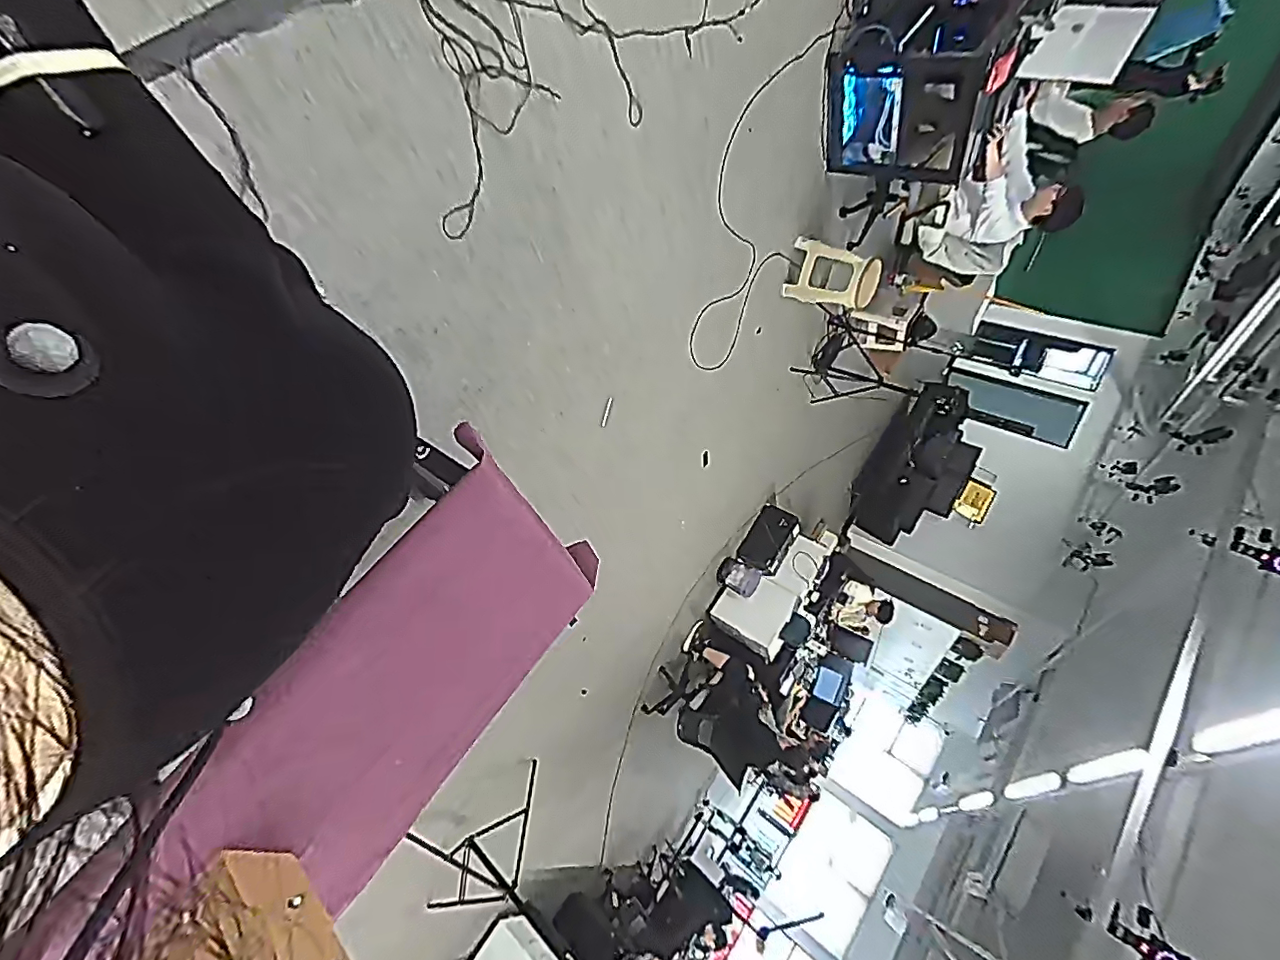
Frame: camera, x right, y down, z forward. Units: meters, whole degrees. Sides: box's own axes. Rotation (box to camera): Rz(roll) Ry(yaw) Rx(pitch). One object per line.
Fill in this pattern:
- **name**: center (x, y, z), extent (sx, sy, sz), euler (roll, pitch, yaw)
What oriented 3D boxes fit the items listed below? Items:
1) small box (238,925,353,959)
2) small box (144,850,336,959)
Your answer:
- **small box**: center (-0.549, 0.828, 0.830), extent (0.168, 0.176, 0.179), euler (-49, 147, -23)
- **small box**: center (-0.673, 0.767, 0.918), extent (0.168, 0.176, 0.179), euler (-50, 146, -21)
